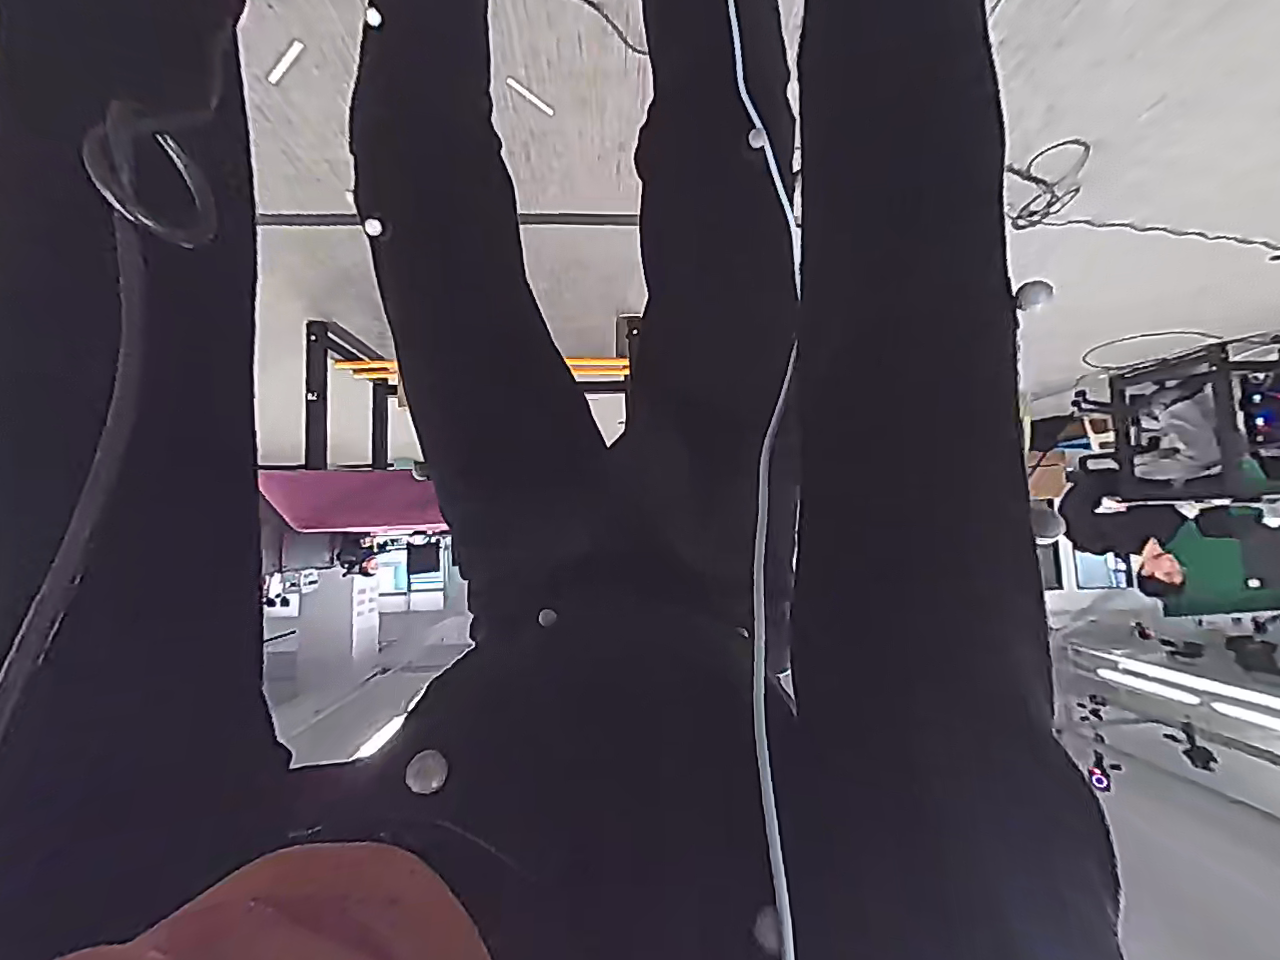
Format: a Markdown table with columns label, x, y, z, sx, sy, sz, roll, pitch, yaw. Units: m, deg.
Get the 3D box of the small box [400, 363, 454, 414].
| label | x | y | z | sx | sy | sz | roll | pitch | yaw |
| --- | --- | --- | --- | --- | --- | --- | --- | --- | --- |
| small box | -0.853 | -0.366 | 2.165 | 0.168 | 0.176 | 0.179 | -2 | 176 | -4 |
